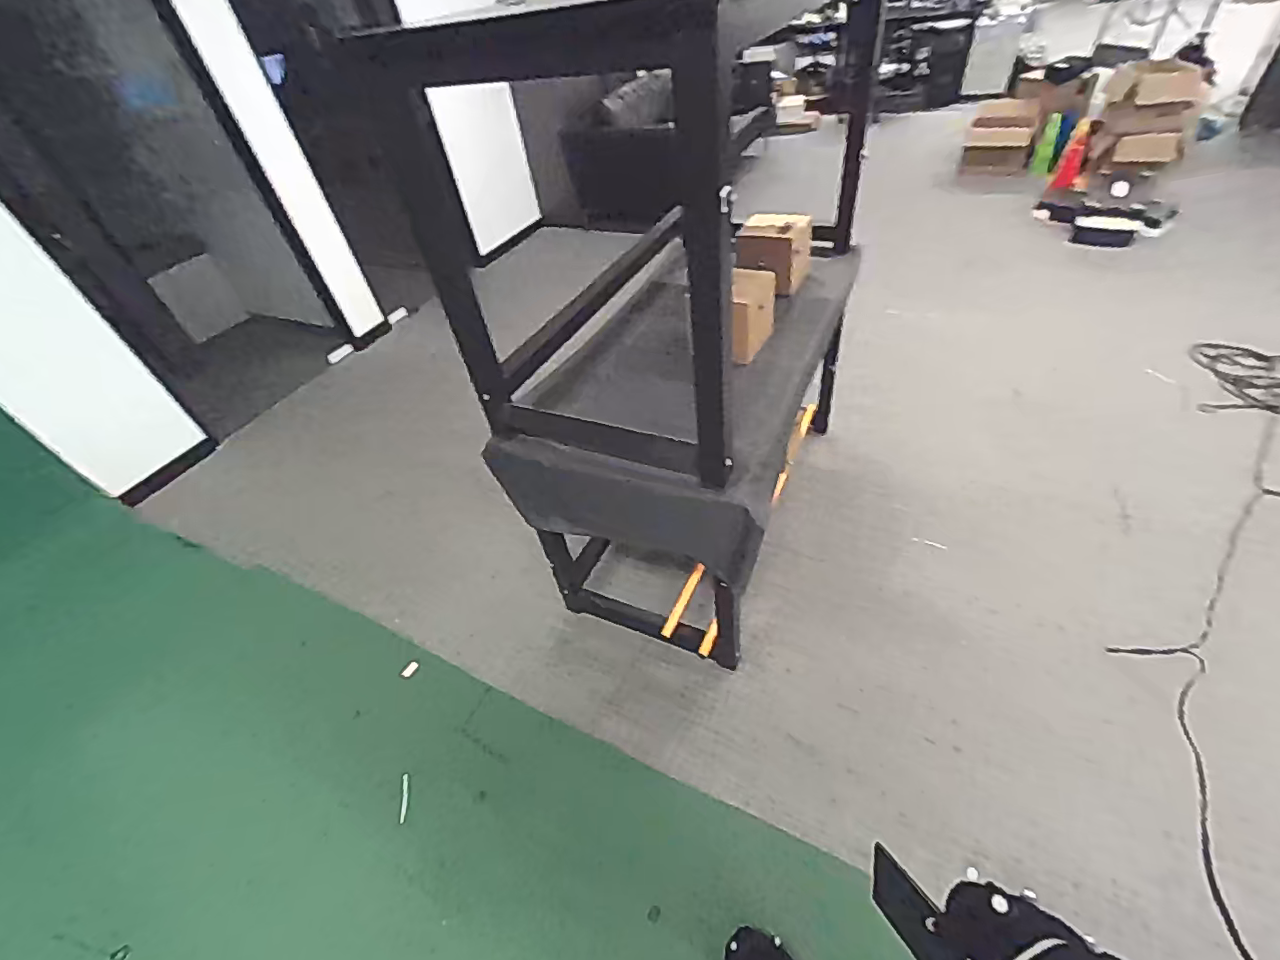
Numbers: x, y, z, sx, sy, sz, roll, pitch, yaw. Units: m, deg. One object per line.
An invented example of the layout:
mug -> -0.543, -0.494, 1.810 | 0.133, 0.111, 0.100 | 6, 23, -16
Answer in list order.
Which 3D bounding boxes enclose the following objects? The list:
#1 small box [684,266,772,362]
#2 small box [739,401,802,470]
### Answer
small box -> 0.229, -0.424, 1.385 | 0.168, 0.176, 0.179 | 17, 50, 25
small box -> 0.474, -0.158, 1.970 | 0.179, 0.176, 0.168 | 18, 50, 25
